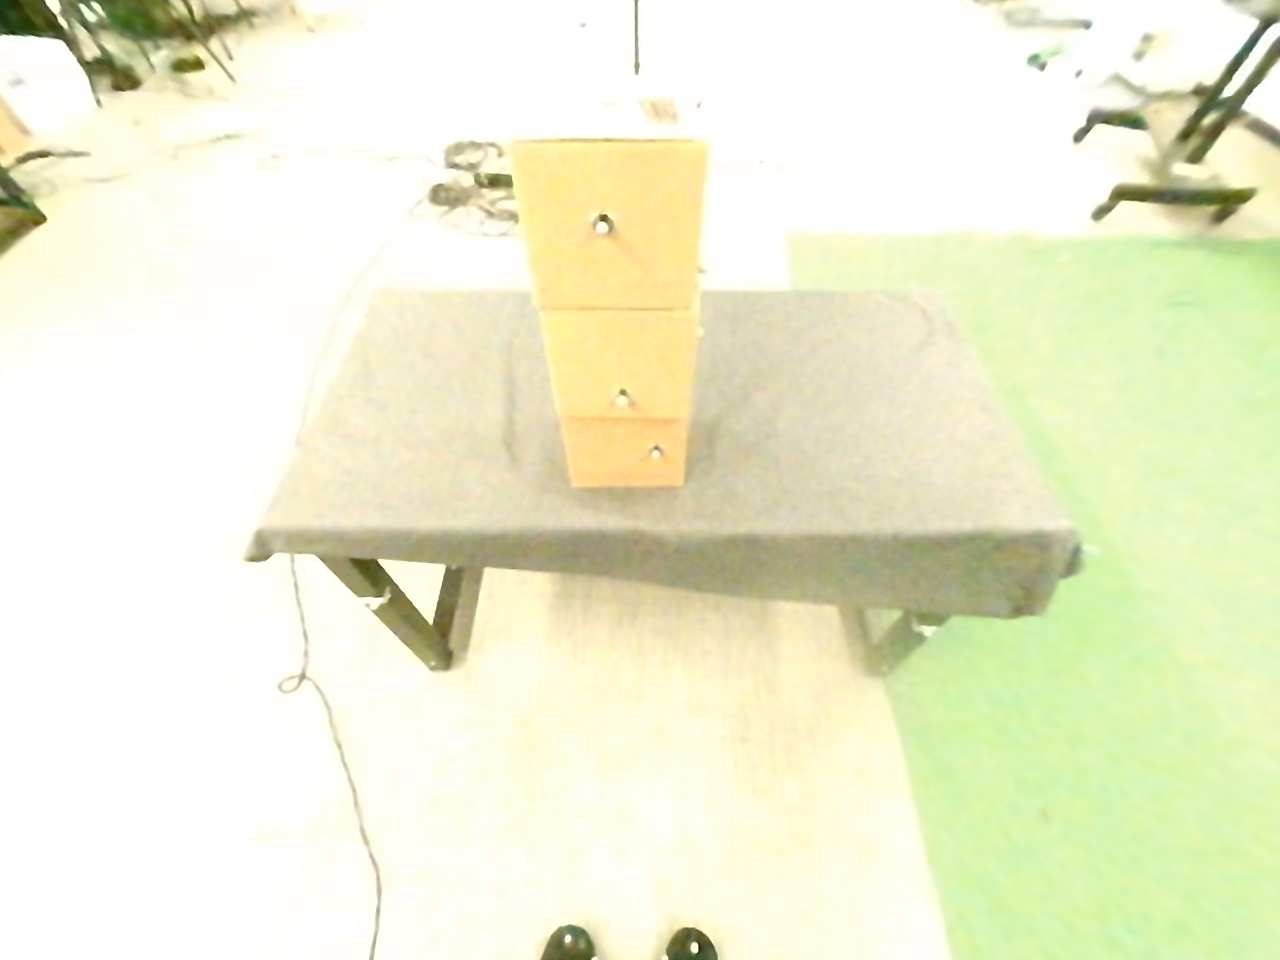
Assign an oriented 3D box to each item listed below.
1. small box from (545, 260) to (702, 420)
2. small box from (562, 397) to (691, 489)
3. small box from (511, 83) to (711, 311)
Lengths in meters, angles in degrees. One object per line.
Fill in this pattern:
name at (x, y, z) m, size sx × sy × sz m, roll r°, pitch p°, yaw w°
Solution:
small box at (-0.018, -0.193, 0.707) m, size 0.179 × 0.176 × 0.168 m, roll 1°, pitch 51°, yaw 1°
small box at (-0.018, -0.098, 0.841) m, size 0.179 × 0.176 × 0.168 m, roll -2°, pitch 51°, yaw 0°
small box at (-0.025, -0.297, 0.579) m, size 0.179 × 0.176 × 0.168 m, roll 0°, pitch 51°, yaw 0°
